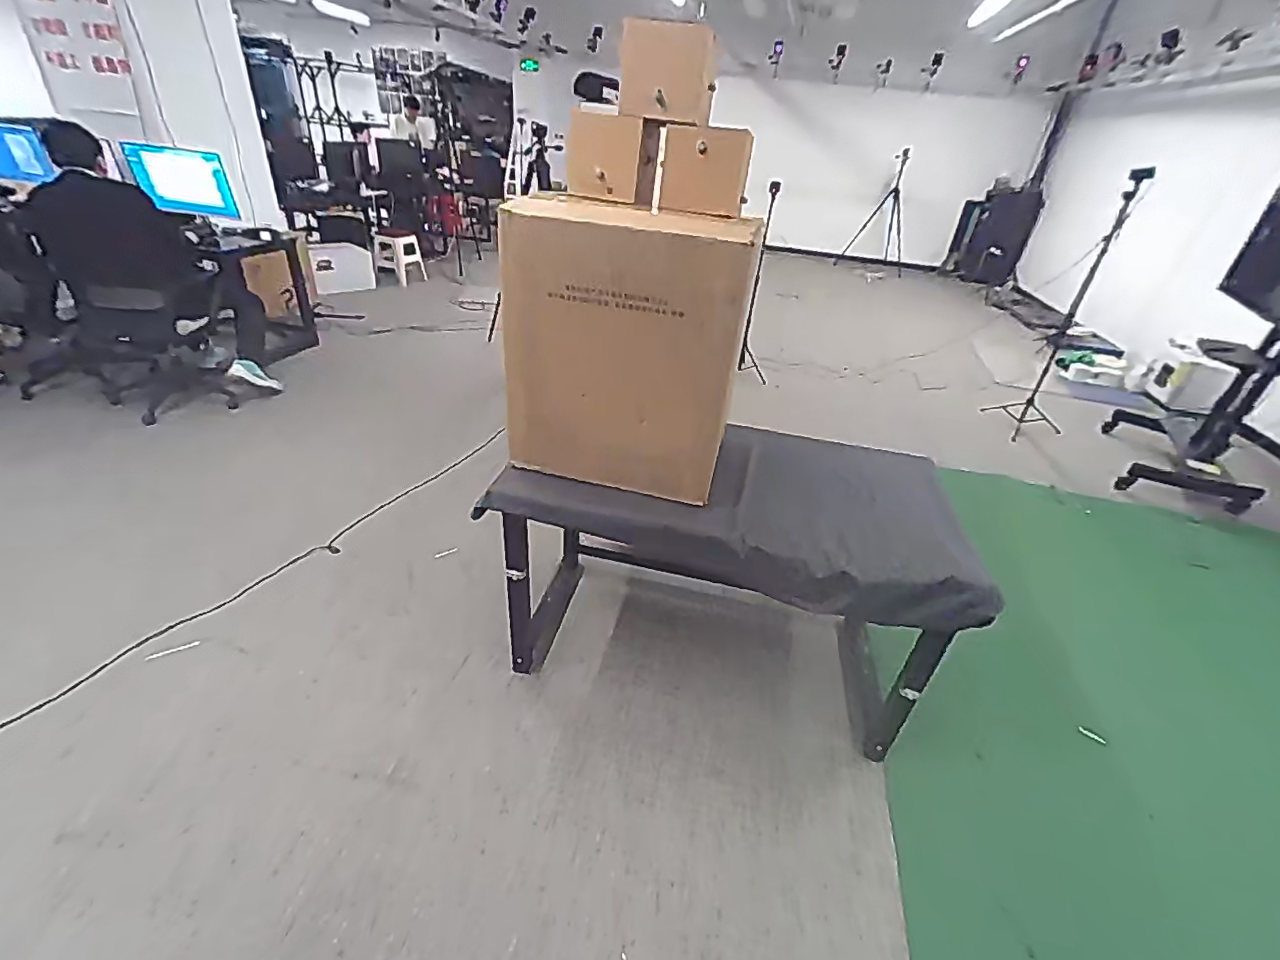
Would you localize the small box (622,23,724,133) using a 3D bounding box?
[{"bbox_3d":[0.072,-0.862,1.181,0.179,0.176,0.168,14,28,10],"label":"small box"}]

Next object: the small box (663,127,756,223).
[{"bbox_3d":[0.158,-0.692,1.238,0.179,0.176,0.168,13,30,9],"label":"small box"}]
